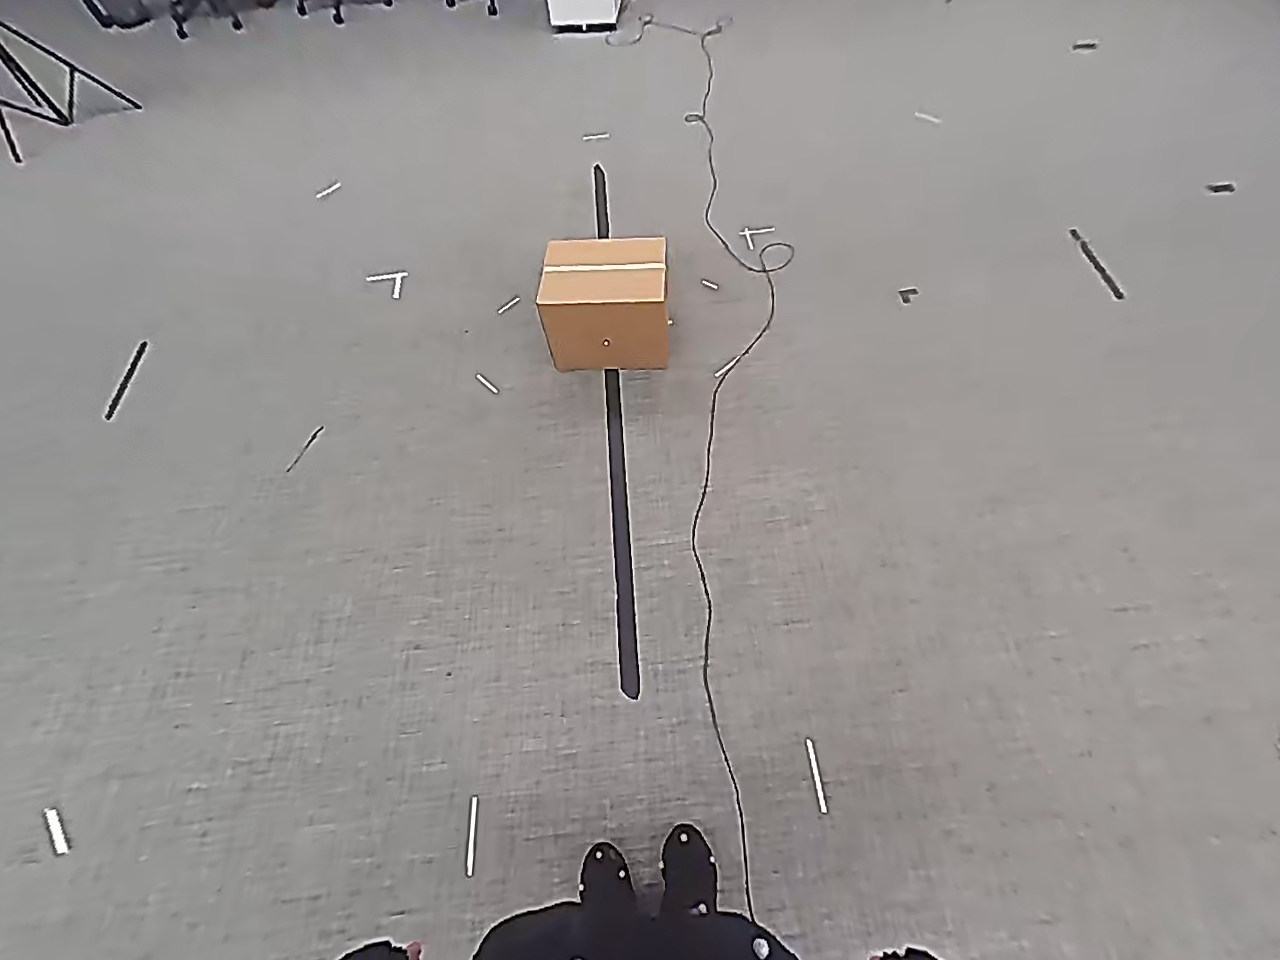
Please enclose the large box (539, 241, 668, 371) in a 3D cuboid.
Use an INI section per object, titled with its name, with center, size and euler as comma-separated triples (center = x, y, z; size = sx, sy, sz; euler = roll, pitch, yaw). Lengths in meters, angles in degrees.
[large box]
center = -0.108, -0.595, 1.873
size = 0.408, 0.320, 0.320
euler = 0, 60, 4
